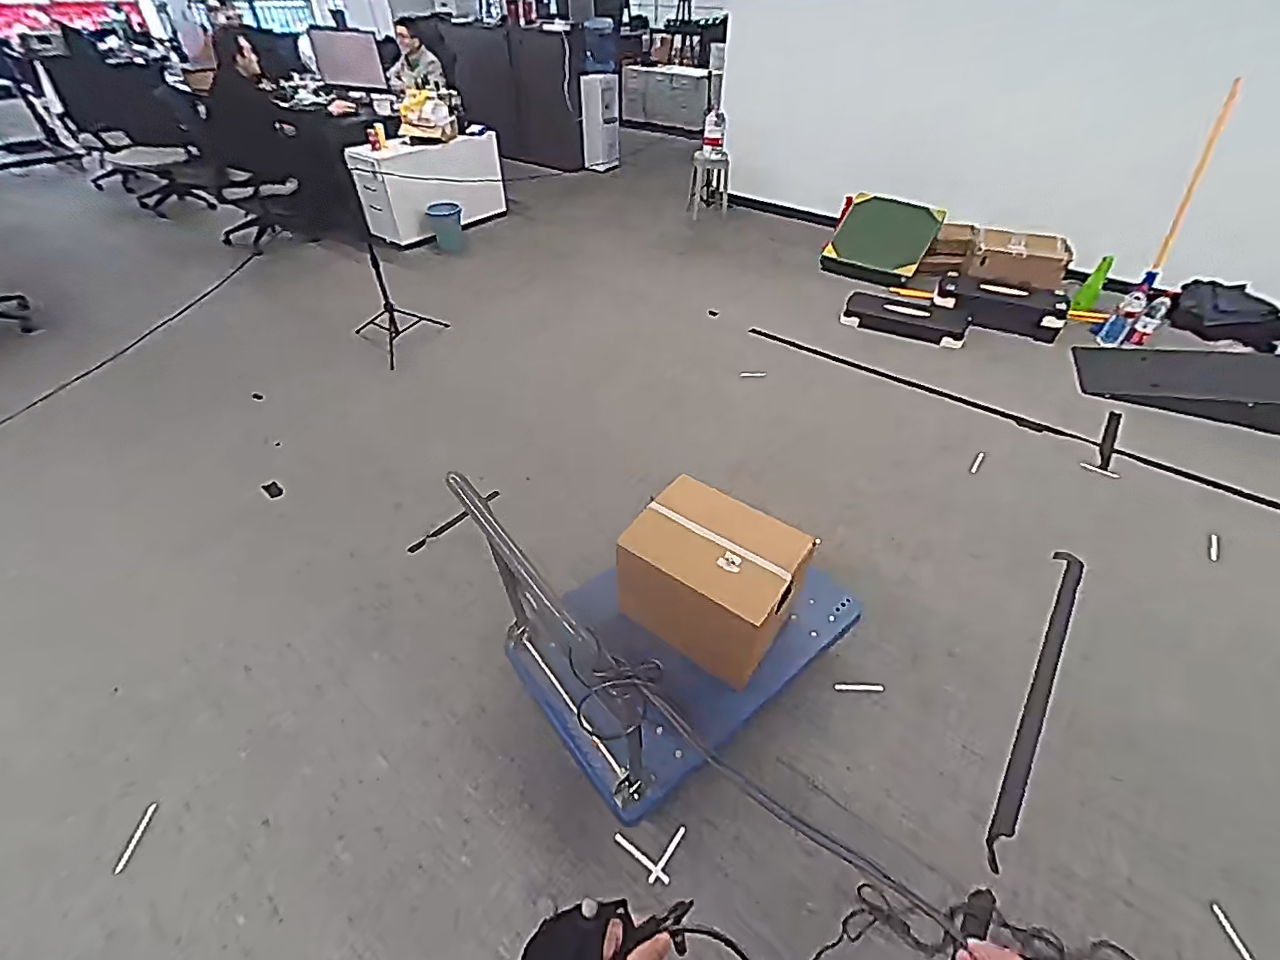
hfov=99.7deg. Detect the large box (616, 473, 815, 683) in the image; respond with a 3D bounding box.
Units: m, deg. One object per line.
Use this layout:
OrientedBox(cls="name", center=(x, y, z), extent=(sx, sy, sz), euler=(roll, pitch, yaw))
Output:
OrientedBox(cls="large box", center=(0.183, 0.249, 1.436), extent=(0.408, 0.320, 0.320), euler=(28, 51, 24))
